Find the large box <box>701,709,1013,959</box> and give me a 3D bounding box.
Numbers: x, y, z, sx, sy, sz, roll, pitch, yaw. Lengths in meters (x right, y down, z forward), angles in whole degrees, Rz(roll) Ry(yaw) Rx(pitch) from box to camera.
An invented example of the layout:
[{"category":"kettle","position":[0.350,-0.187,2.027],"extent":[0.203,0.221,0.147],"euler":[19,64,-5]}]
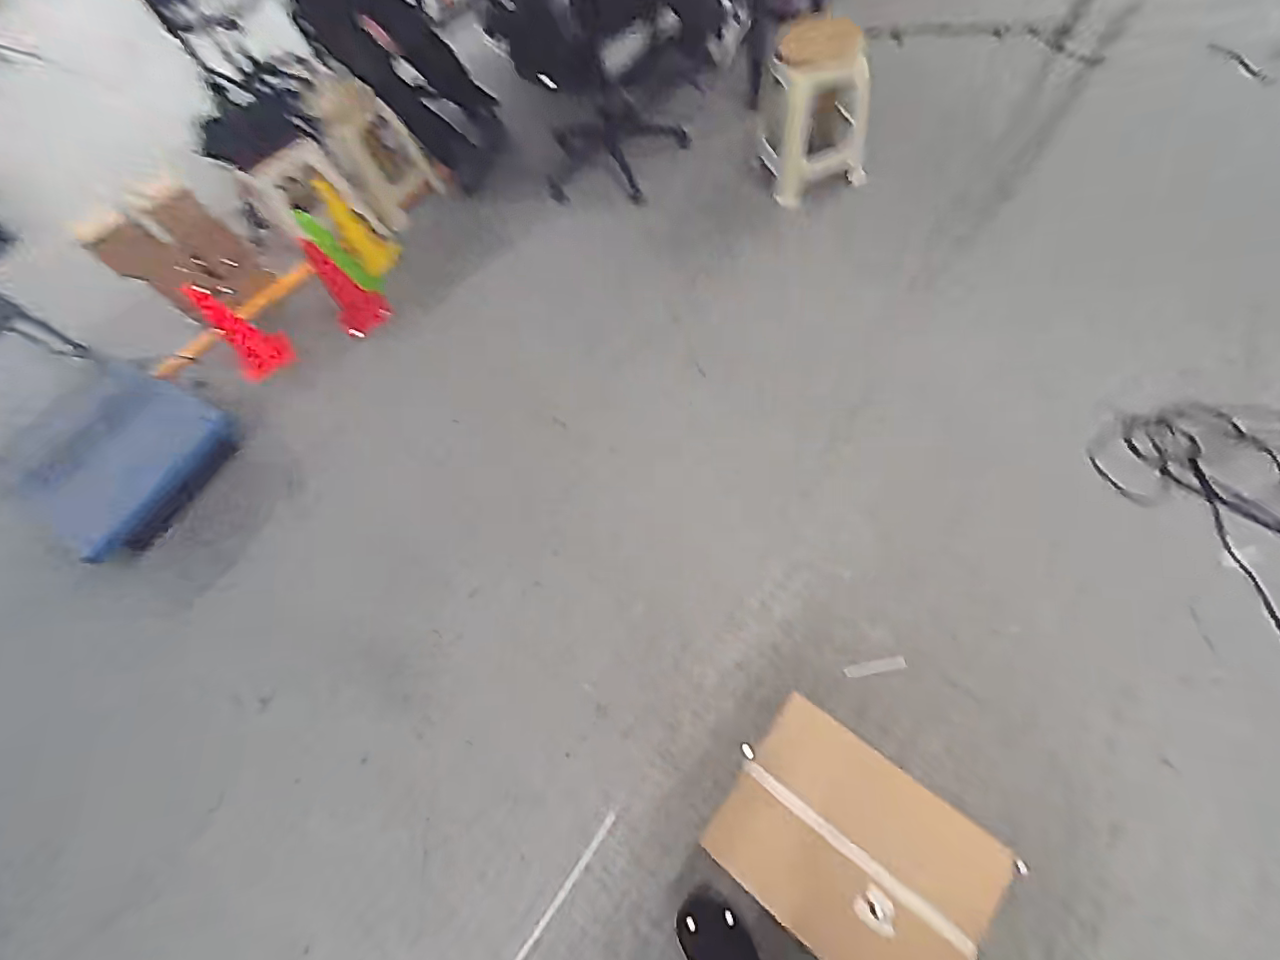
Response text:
[{"category":"large box","position":[0.366,0.702,1.016],"extent":[0.408,0.320,0.320],"euler":[33,72,24]}]
